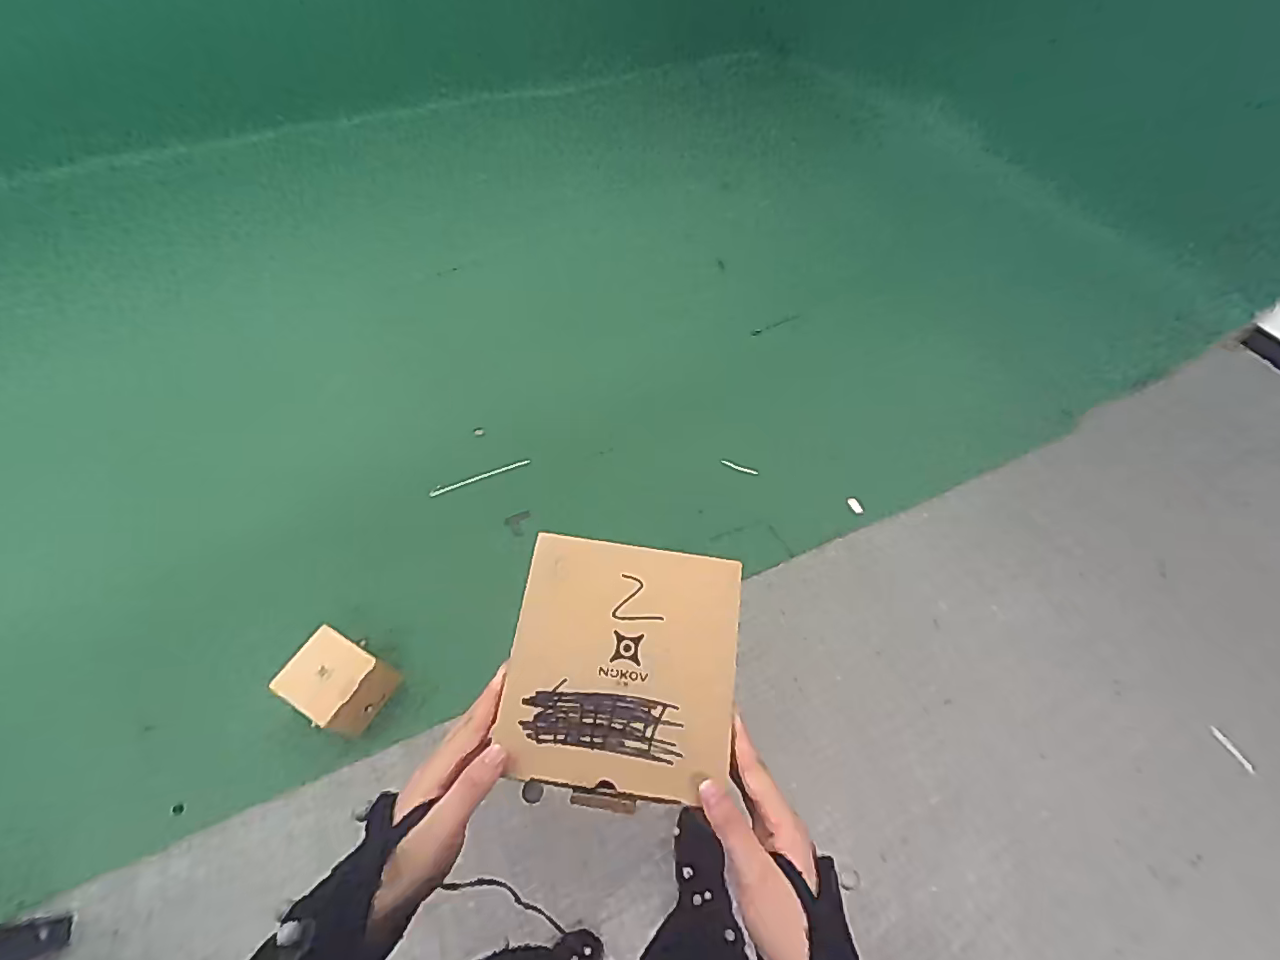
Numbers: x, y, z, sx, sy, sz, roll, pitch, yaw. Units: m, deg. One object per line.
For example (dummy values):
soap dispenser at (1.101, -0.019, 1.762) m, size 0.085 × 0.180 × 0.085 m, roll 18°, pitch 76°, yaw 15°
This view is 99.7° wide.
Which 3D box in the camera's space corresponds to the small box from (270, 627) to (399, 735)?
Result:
small box at (-0.716, 0.484, 1.286) m, size 0.179 × 0.176 × 0.168 m, roll 26°, pitch 60°, yaw 14°
